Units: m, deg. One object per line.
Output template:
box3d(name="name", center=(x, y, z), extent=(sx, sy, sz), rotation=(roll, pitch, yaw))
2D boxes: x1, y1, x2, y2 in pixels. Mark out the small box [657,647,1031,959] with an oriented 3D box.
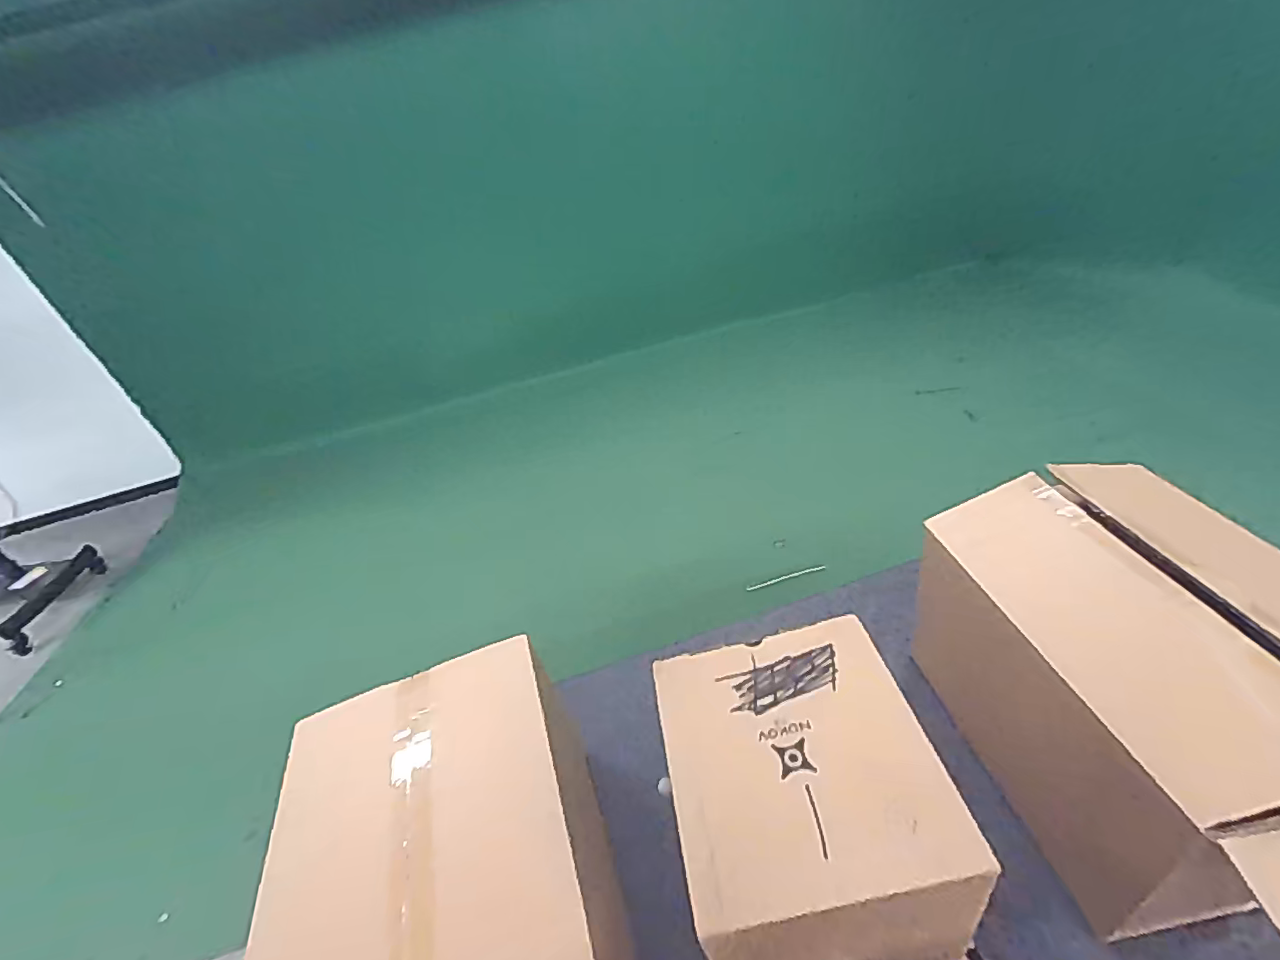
box3d(name="small box", center=(0.117, 0.253, 0.376), extent=(0.168, 0.176, 0.179), rotation=(-15, 37, 3))
